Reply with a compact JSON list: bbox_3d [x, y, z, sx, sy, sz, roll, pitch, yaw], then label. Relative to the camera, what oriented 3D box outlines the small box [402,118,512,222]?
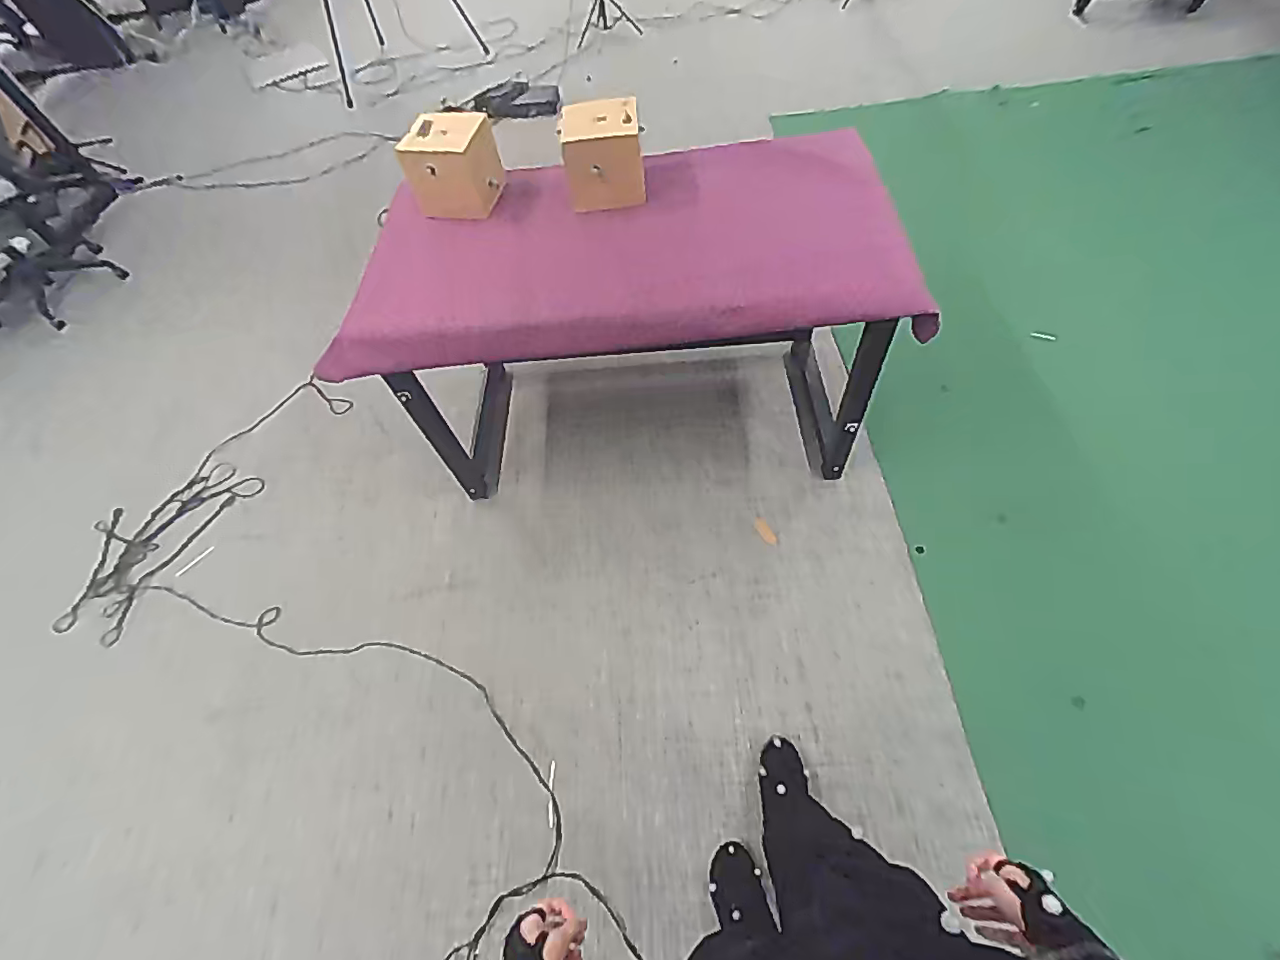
[{"bbox_3d":[-0.439,-0.756,1.324,0.179,0.176,0.168,7,60,10],"label":"small box"}]

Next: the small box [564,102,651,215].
[{"bbox_3d":[-0.071,-0.753,1.281,0.179,0.176,0.168,-5,59,5],"label":"small box"}]
